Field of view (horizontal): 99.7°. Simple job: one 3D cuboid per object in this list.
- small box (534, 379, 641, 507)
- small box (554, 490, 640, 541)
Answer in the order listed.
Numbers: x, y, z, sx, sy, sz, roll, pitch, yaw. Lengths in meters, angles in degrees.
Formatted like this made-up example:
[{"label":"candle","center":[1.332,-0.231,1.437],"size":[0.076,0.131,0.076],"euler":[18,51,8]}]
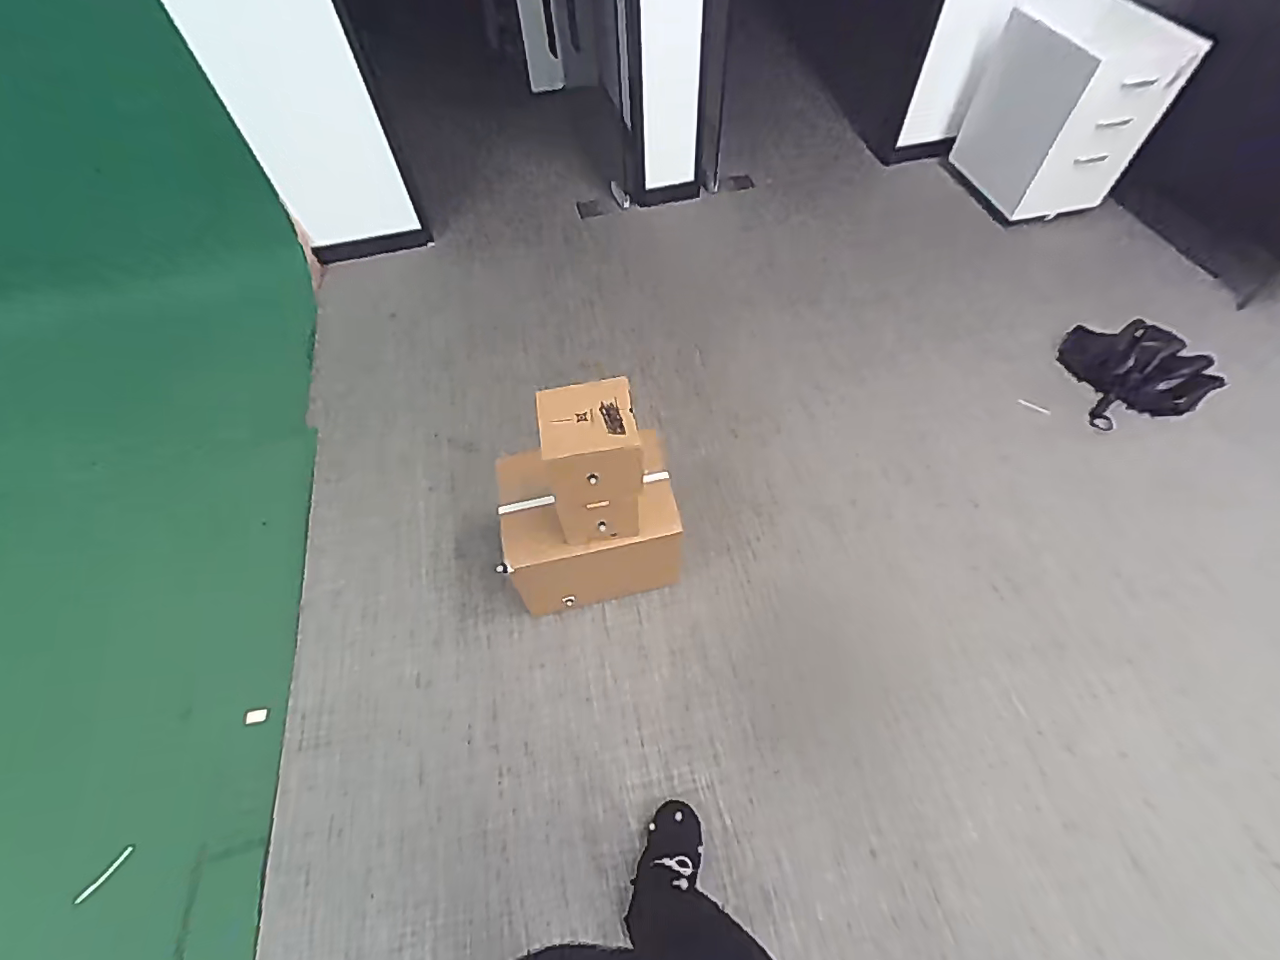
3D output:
[{"label":"small box","center":[-0.096,-0.066,1.040],"size":[0.179,0.176,0.168],"euler":[-11,58,-3]},{"label":"small box","center":[-0.096,0.020,1.181],"size":[0.168,0.176,0.179],"euler":[-10,59,-3]}]
